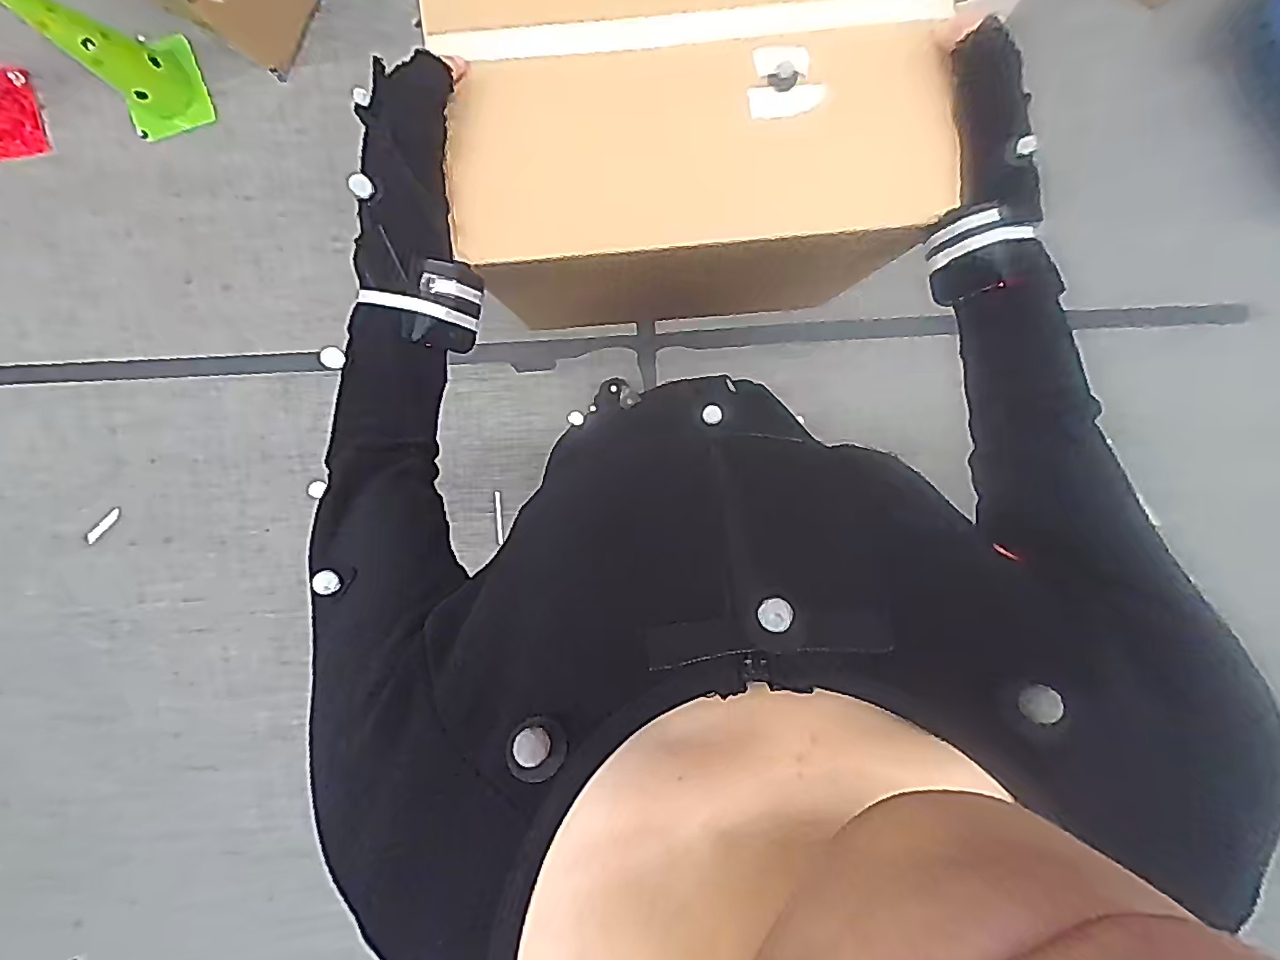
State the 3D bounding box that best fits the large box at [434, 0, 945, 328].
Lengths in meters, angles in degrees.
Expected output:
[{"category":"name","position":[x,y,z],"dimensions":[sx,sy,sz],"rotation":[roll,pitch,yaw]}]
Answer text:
[{"category":"large box","position":[0.035,-0.363,0.577],"dimensions":[0.408,0.320,0.320],"rotation":[-5,96,-1]}]
